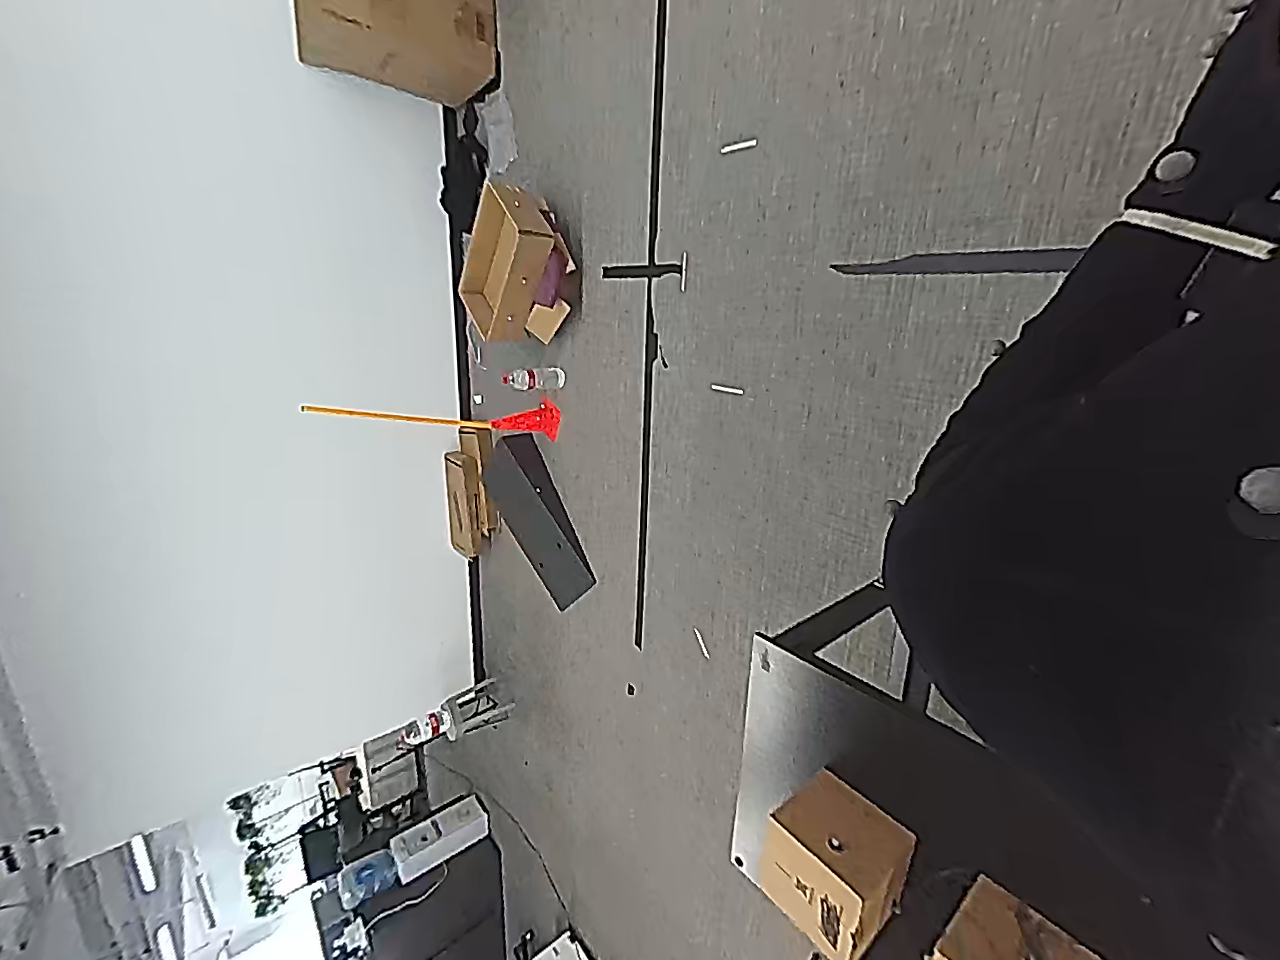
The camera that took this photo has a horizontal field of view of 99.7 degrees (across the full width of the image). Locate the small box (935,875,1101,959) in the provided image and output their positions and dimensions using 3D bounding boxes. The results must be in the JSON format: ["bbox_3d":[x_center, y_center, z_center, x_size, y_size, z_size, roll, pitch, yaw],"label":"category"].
[{"bbox_3d":[0.503,0.695,0.727,0.168,0.176,0.179,23,117,47],"label":"small box"}]

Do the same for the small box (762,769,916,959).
[{"bbox_3d":[0.337,0.639,0.920,0.179,0.176,0.168,24,117,47],"label":"small box"}]
